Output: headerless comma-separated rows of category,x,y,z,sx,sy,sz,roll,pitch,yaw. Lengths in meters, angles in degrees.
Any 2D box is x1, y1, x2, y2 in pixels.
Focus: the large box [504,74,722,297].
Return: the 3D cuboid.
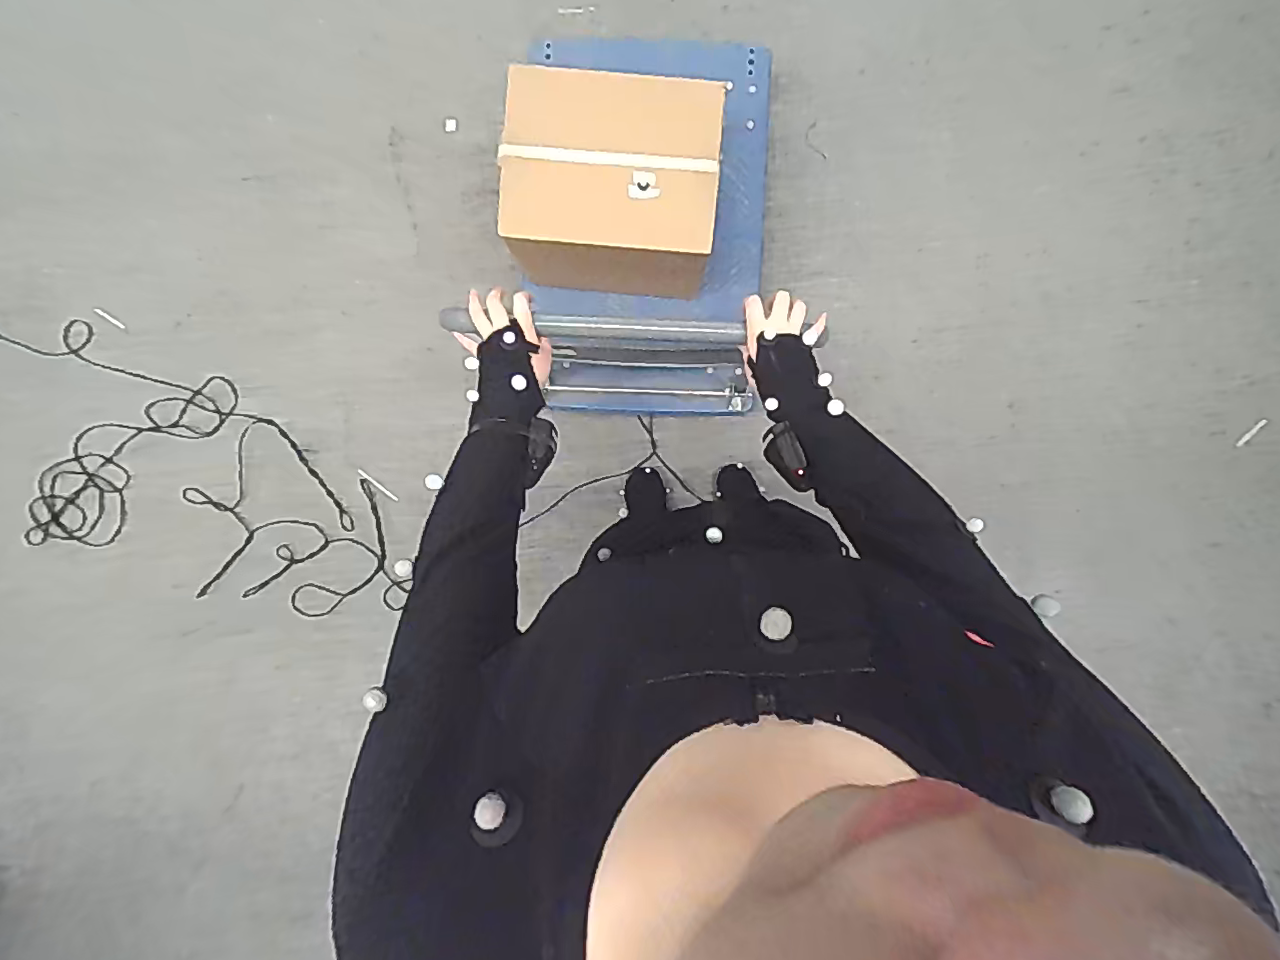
large box,-0.055,-0.605,1.171,0.408,0.320,0.320,5,93,-1
